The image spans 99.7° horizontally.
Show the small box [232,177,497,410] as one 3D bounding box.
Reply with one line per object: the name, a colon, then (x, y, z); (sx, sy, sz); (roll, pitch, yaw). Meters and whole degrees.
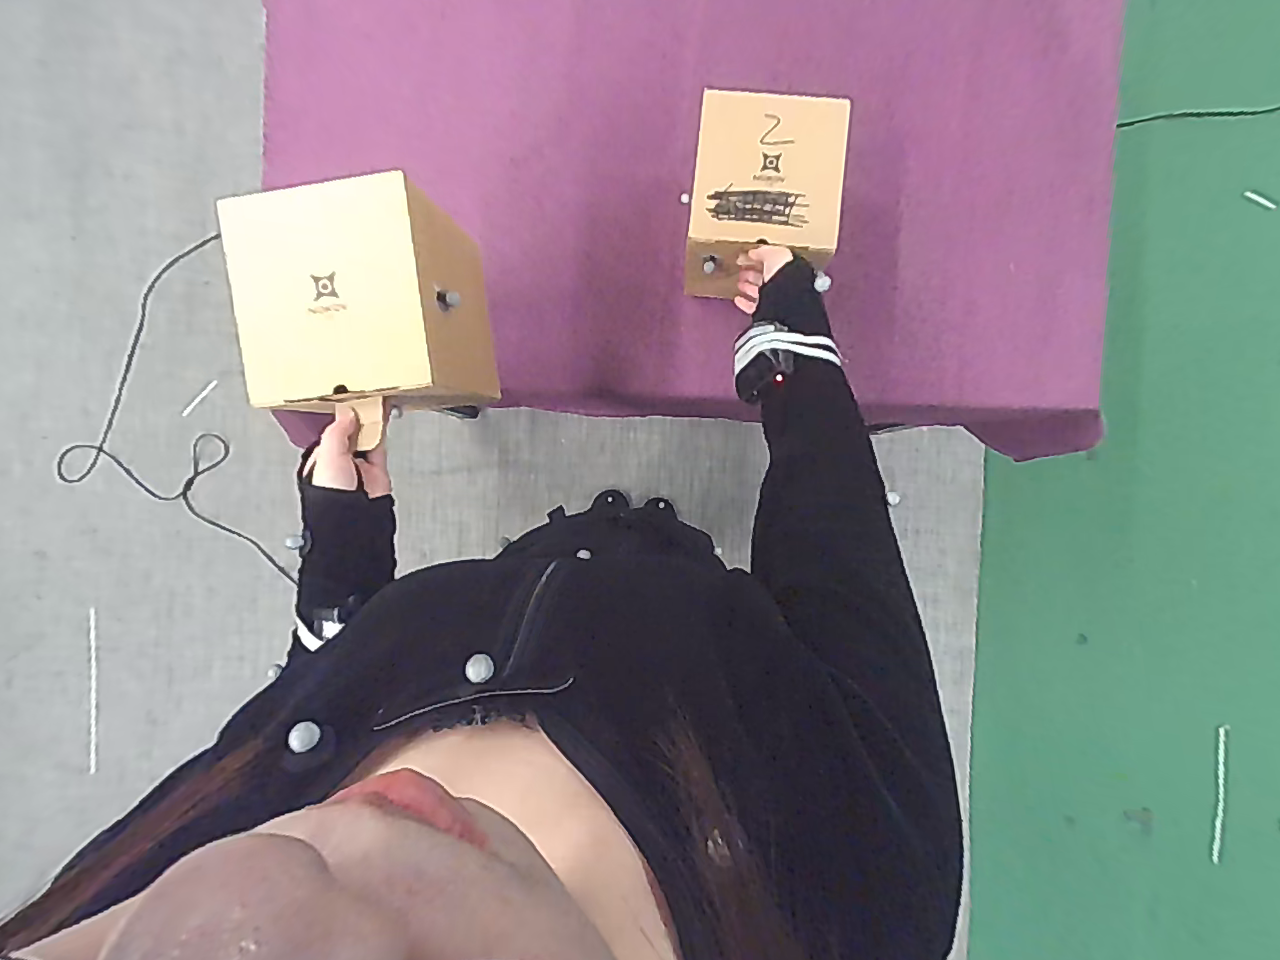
small box: (-0.257, -0.169, 0.545); (0.168, 0.176, 0.179); (-6, 95, 5)
